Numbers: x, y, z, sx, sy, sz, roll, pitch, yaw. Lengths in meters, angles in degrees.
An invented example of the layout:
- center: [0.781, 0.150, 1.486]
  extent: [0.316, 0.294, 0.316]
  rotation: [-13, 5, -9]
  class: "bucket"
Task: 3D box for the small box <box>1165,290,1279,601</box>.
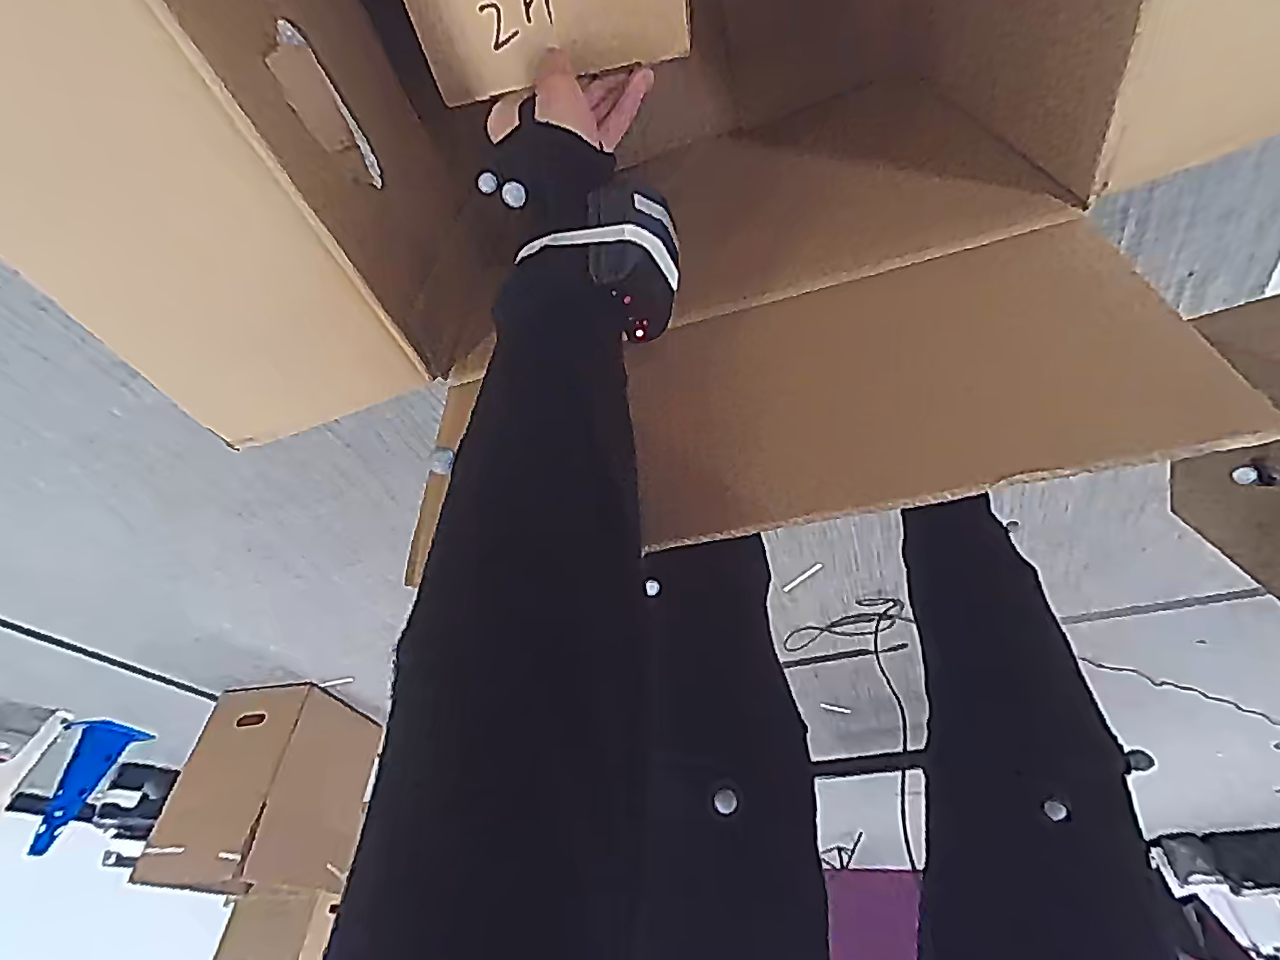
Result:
- center: [0.482, -0.026, 0.340]
  extent: [0.168, 0.176, 0.179]
  rotation: [-16, 114, 19]
  class: "small box"
